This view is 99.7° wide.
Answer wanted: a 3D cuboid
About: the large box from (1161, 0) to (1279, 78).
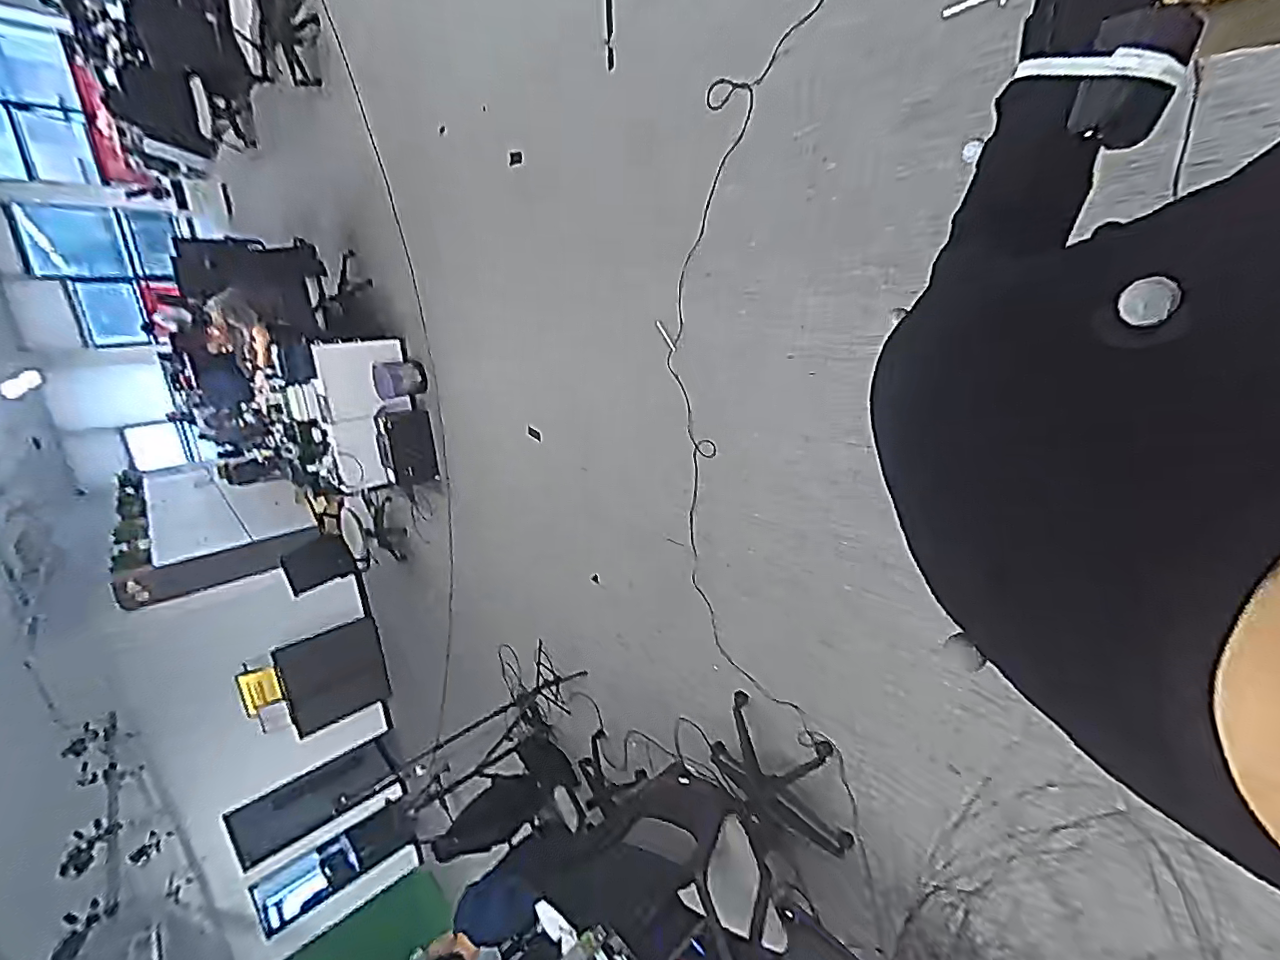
[{"bbox_3d":[0.556,-0.418,0.243,0.408,0.320,0.320,20,127,38],"label":"large box"}]
